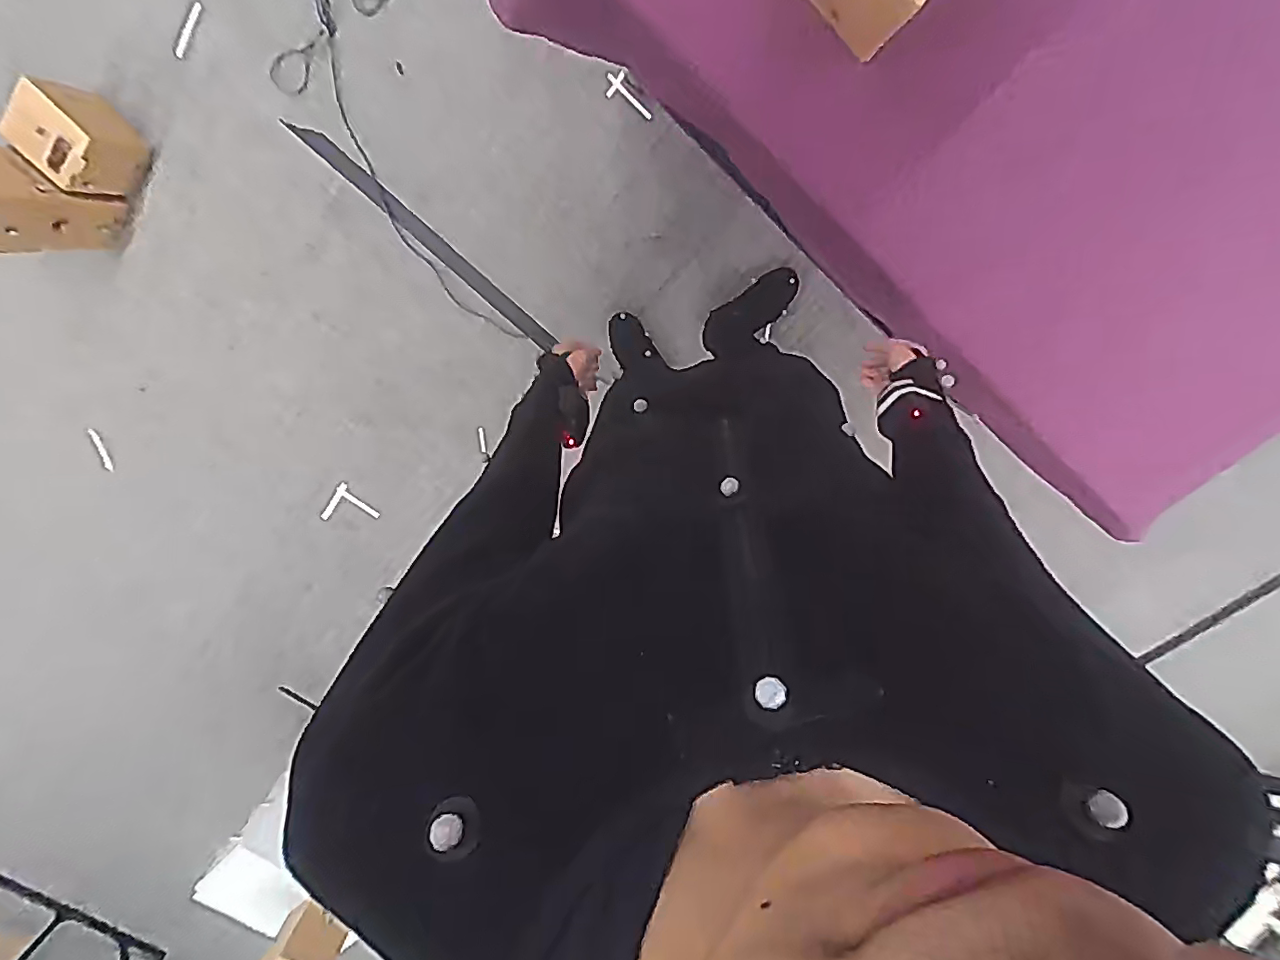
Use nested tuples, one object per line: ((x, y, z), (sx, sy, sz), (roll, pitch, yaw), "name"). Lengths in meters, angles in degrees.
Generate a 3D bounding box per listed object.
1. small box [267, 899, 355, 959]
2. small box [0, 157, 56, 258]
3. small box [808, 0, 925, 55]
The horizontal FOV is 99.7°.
((-1.038, 1.470, 1.696), (0.168, 0.176, 0.179), (42, 111, -14), "small box")
((-1.548, -0.645, 1.266), (0.179, 0.176, 0.168), (-40, 105, 20), "small box")
((0.263, -0.589, 0.544), (0.168, 0.176, 0.179), (39, 111, -13), "small box")
